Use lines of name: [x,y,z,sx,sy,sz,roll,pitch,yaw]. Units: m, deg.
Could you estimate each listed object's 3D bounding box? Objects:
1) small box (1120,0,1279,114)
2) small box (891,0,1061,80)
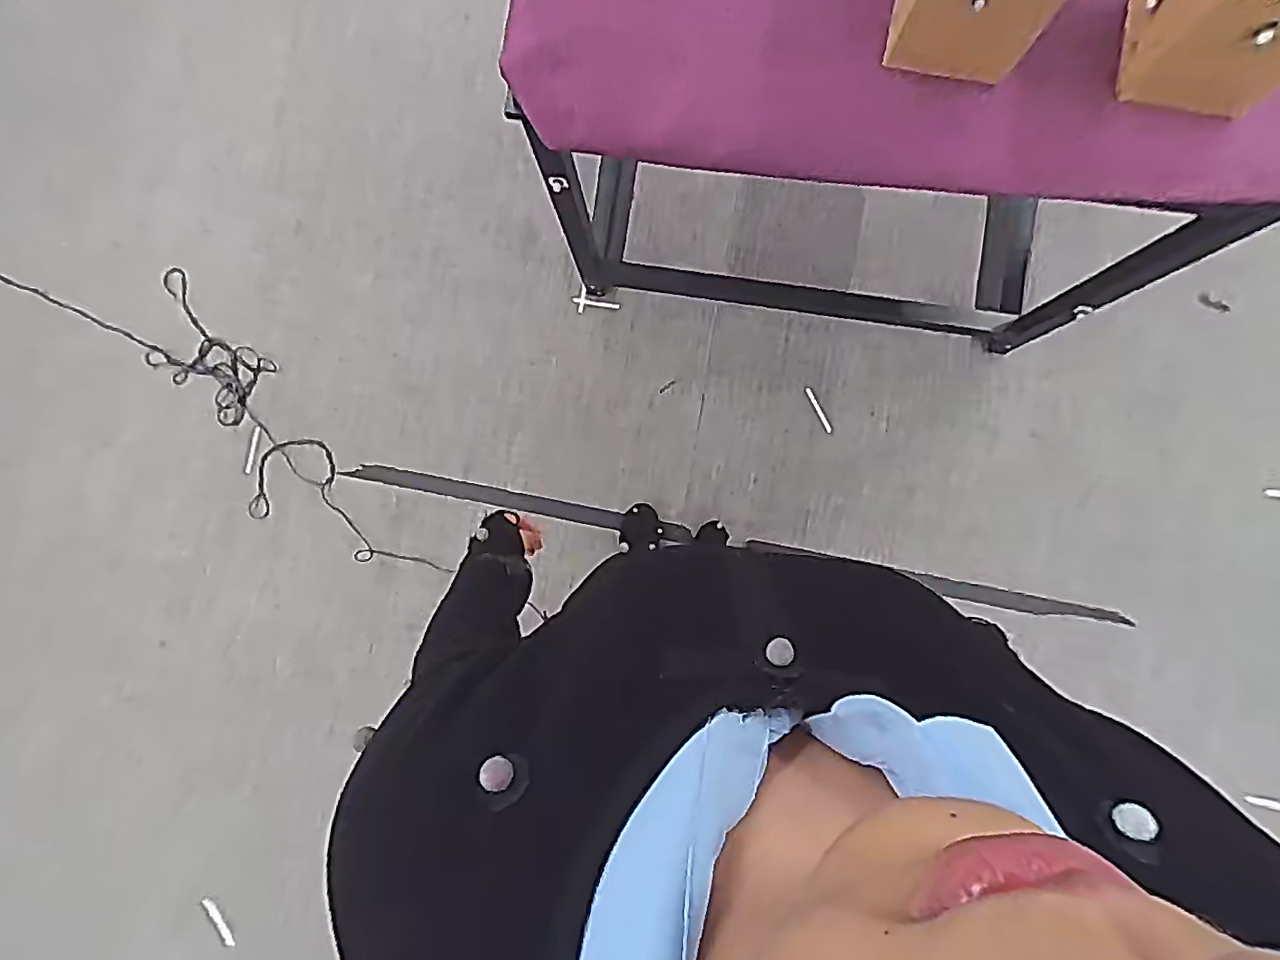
small box: [0.793,-0.619,0.703,0.179,0.176,0.168,13,86,4]
small box: [0.464,-0.682,0.723,0.179,0.176,0.168,12,88,3]
